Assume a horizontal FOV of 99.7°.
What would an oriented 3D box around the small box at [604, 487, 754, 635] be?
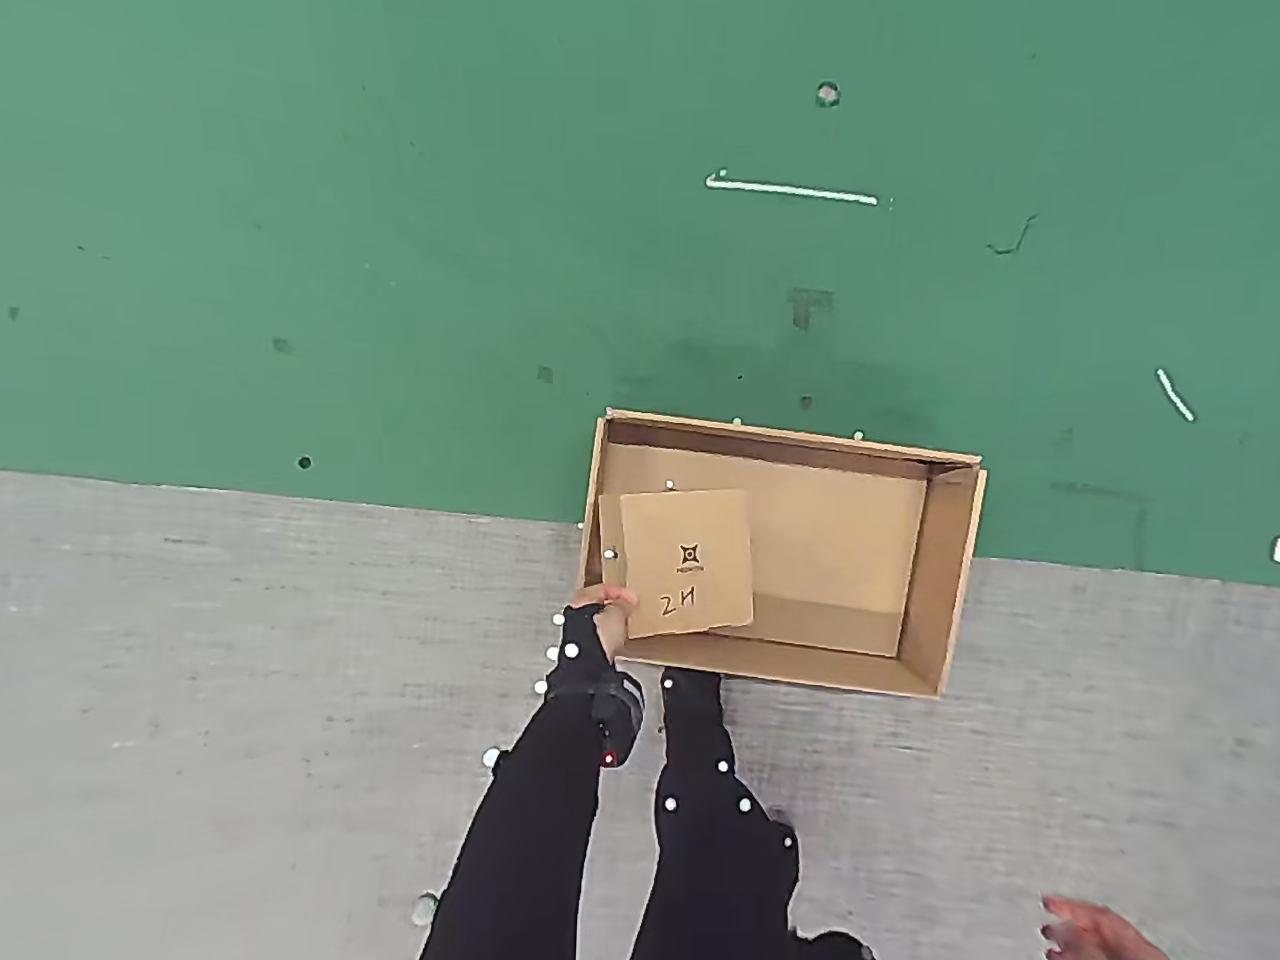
[{"bbox_3d":[0.044,0.101,0.741,0.168,0.176,0.179,-2,89,-12],"label":"small box"}]
